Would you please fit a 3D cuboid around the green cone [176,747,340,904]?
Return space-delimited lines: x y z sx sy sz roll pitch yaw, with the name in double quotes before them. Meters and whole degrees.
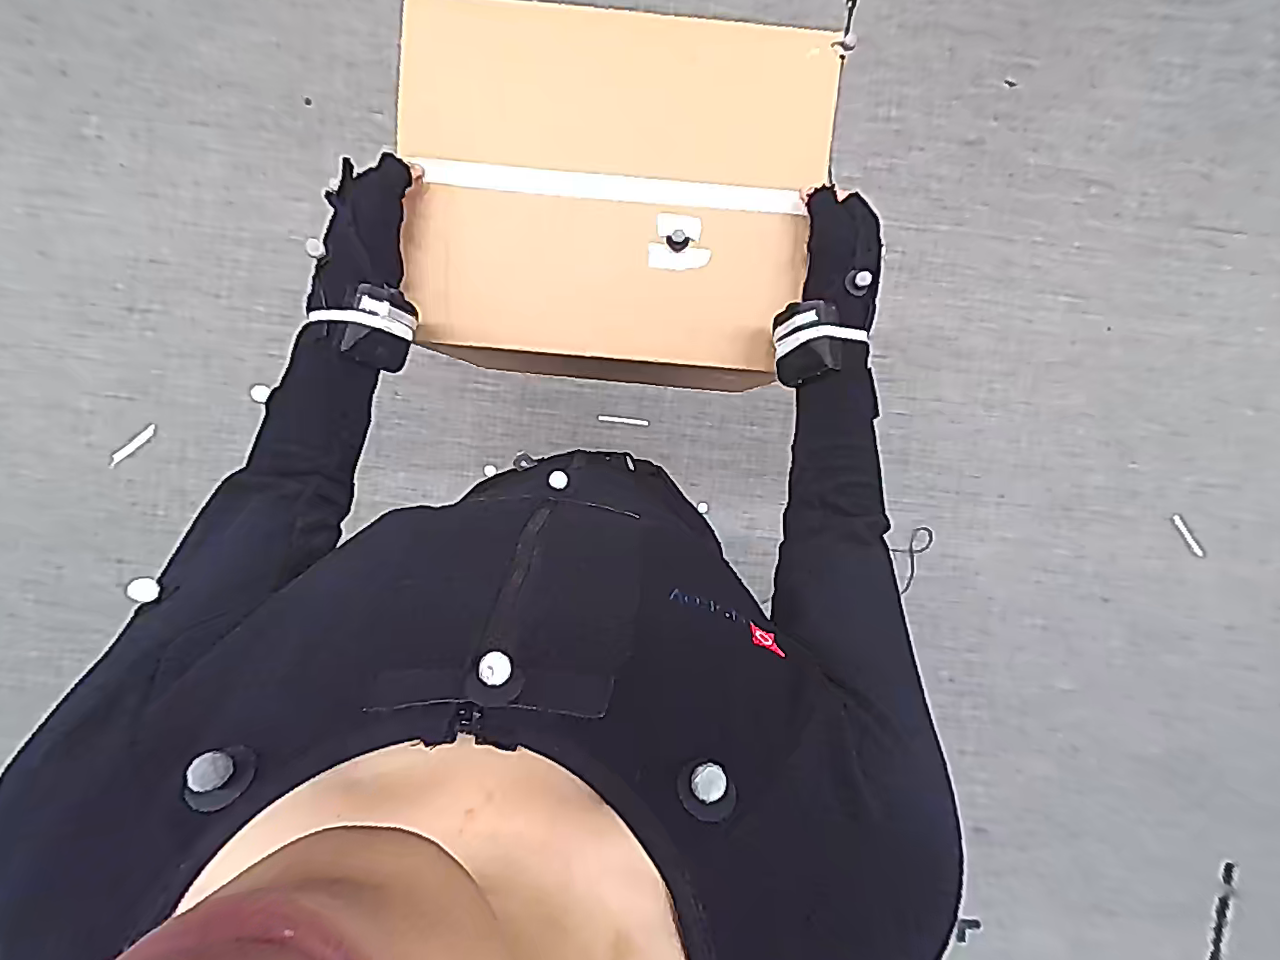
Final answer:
"green cone" -0.953 0.865 1.317 0.202 0.368 0.200 -32 91 2

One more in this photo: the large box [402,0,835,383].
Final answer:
"large box" -0.029 -0.298 0.663 0.408 0.320 0.320 5 96 -2
